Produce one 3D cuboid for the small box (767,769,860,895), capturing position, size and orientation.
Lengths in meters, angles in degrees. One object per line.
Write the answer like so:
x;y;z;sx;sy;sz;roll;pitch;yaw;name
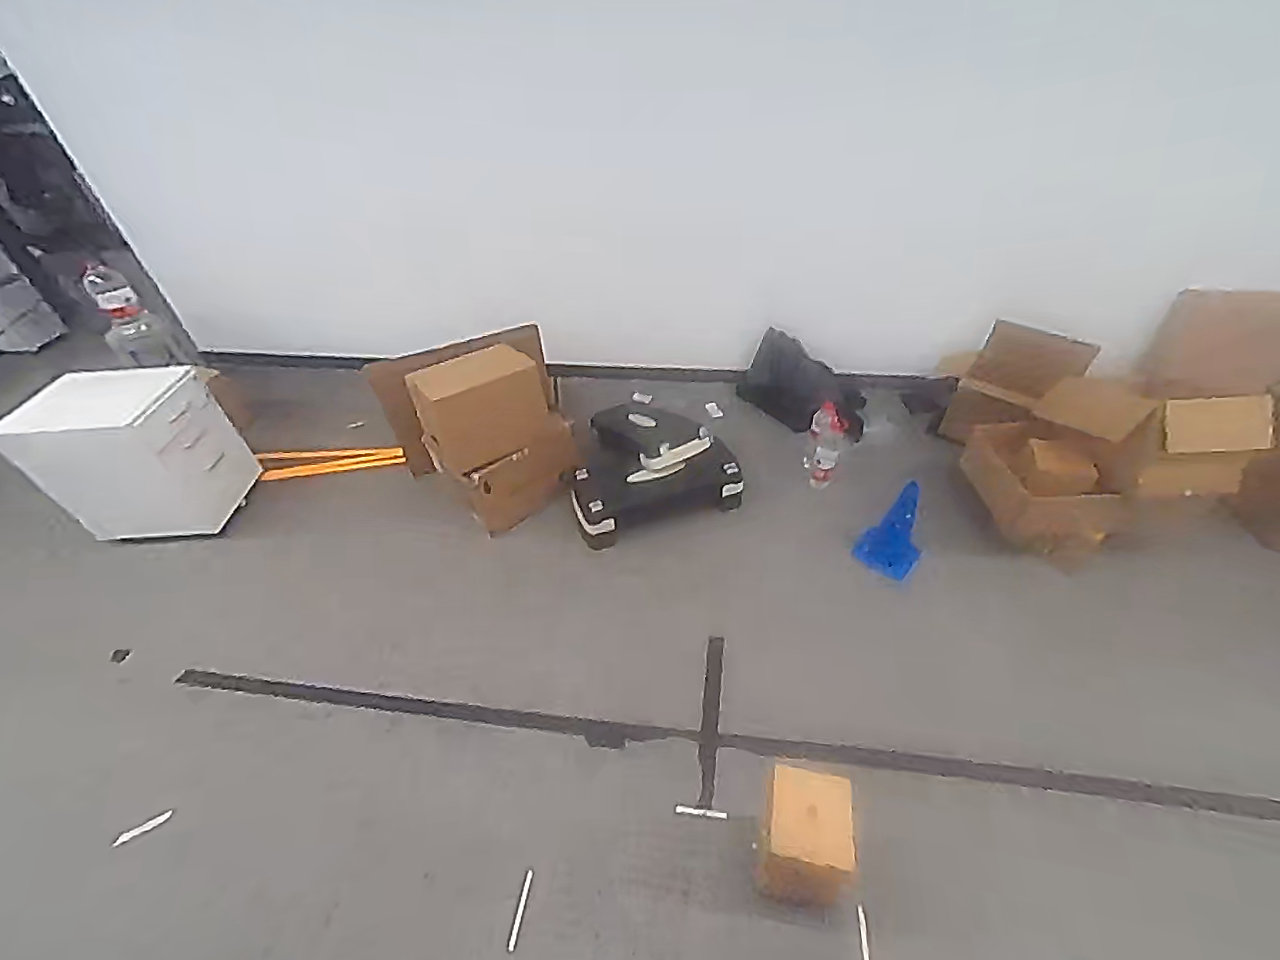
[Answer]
0.375;0.773;1.188;0.168;0.176;0.179;7;44;11;small box
